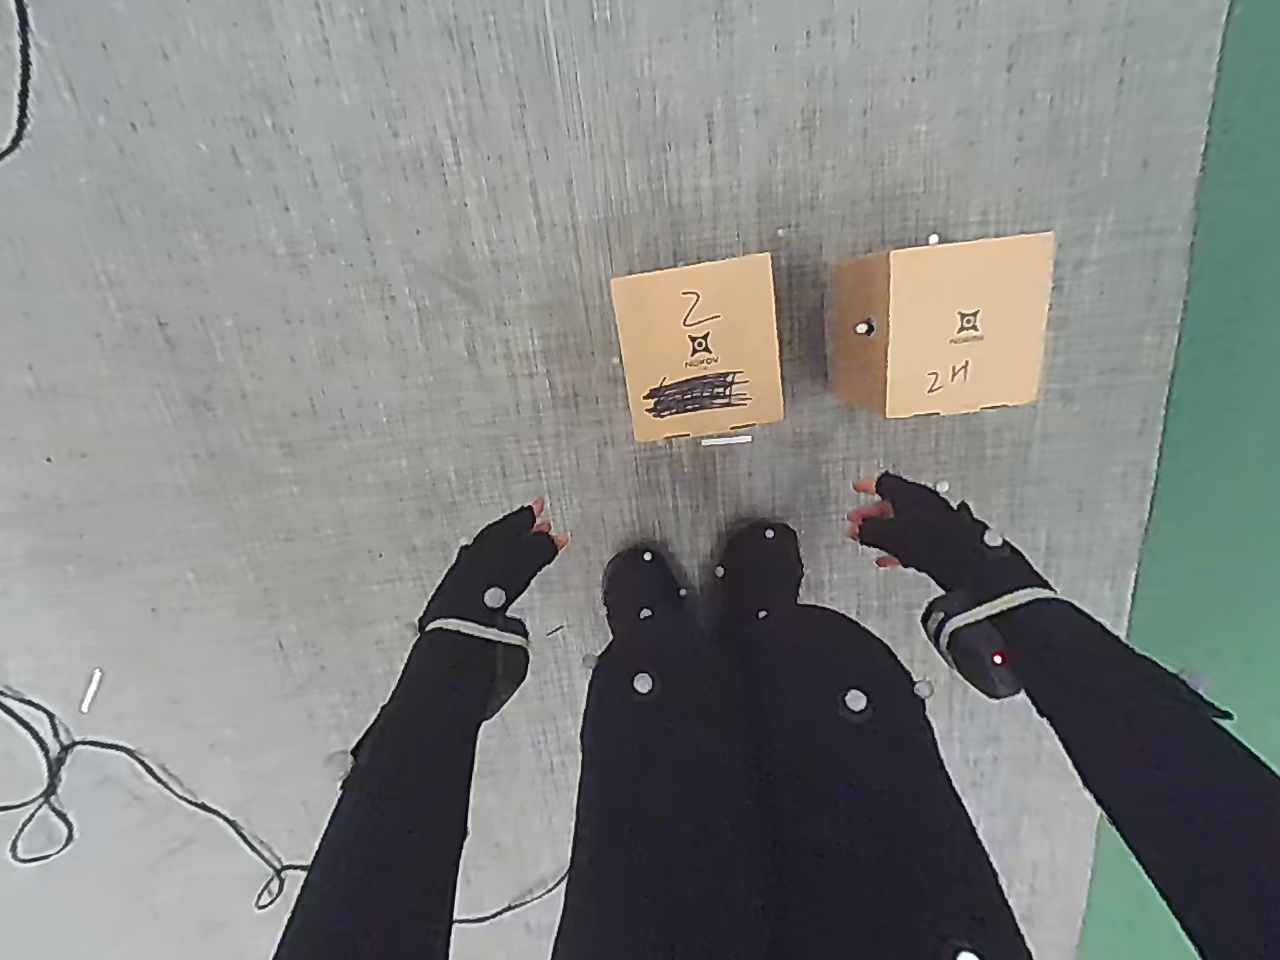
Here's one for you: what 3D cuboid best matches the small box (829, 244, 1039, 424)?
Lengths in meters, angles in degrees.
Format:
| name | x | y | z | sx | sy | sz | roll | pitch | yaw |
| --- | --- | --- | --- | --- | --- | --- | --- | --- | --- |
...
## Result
| name | x | y | z | sx | sy | sz | roll | pitch | yaw |
| --- | --- | --- | --- | --- | --- | --- | --- | --- | --- |
| small box | 0.336 | -0.174 | 0.655 | 0.168 | 0.176 | 0.179 | -6 | 107 | 2 |
